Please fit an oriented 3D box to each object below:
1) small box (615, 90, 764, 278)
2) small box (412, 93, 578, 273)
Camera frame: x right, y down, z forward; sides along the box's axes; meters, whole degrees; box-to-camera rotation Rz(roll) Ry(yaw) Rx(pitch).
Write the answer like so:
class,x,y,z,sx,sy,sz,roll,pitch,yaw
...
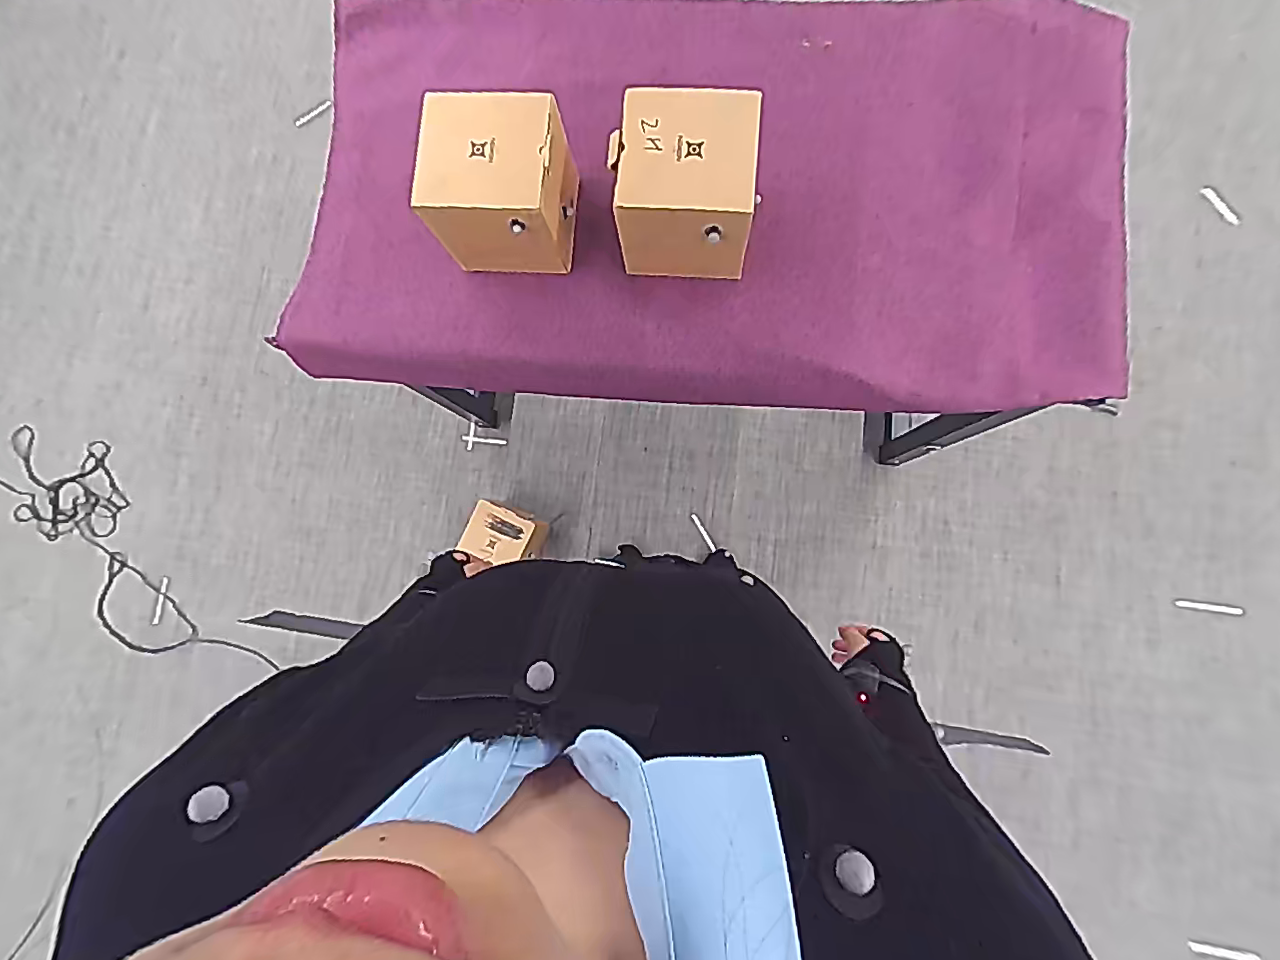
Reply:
class,x,y,z,sx,sy,sz,roll,pitch,yaw
small box,0.068,-0.399,0.753,0.179,0.176,0.168,5,83,6
small box,-0.197,-0.415,0.779,0.179,0.176,0.168,3,83,5
